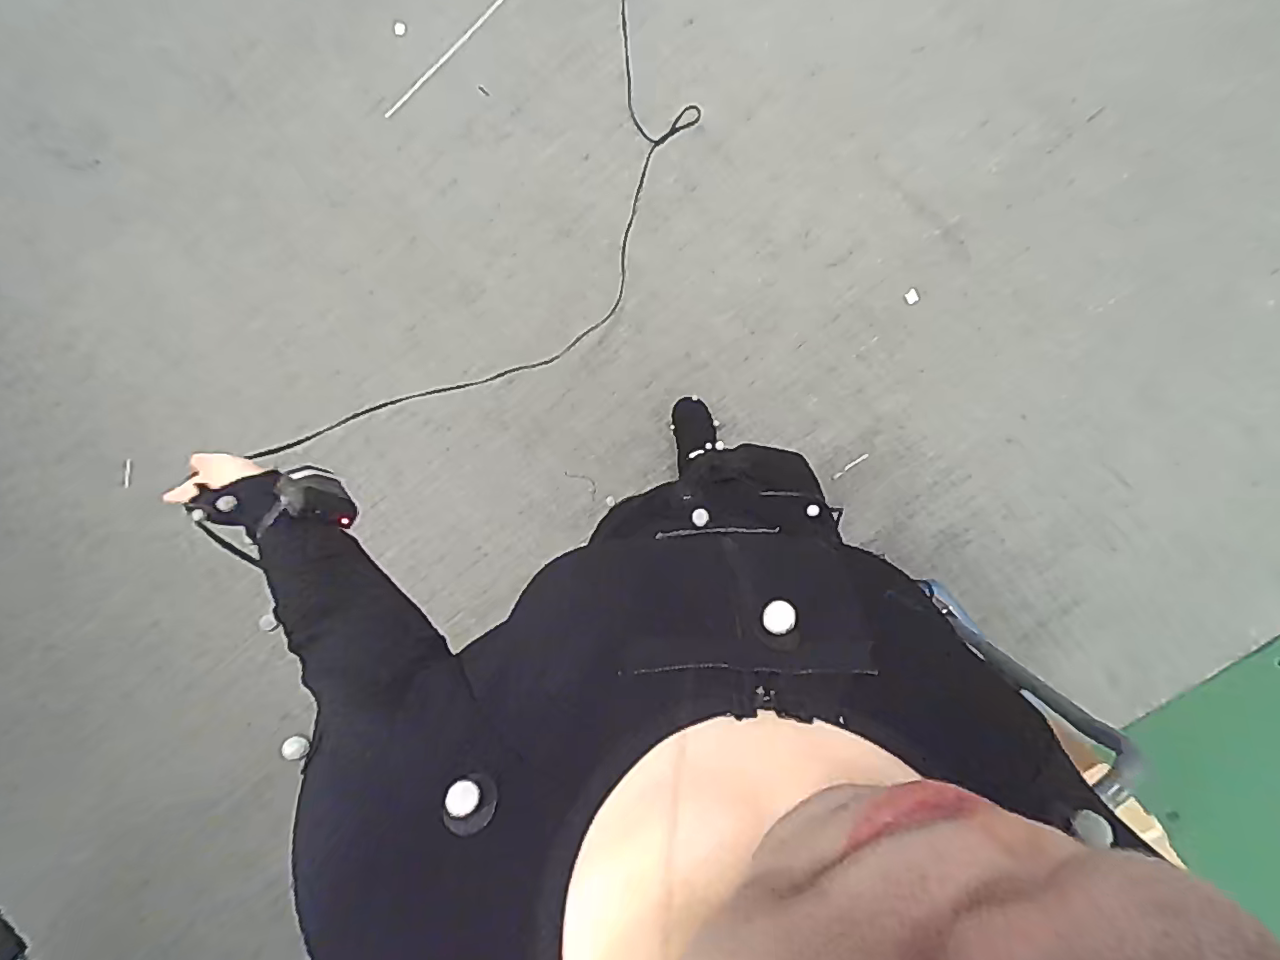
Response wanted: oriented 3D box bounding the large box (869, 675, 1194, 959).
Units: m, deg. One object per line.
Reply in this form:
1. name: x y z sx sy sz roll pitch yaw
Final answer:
1. large box: 0.790 0.706 1.163 0.408 0.320 0.320 -37 90 9
